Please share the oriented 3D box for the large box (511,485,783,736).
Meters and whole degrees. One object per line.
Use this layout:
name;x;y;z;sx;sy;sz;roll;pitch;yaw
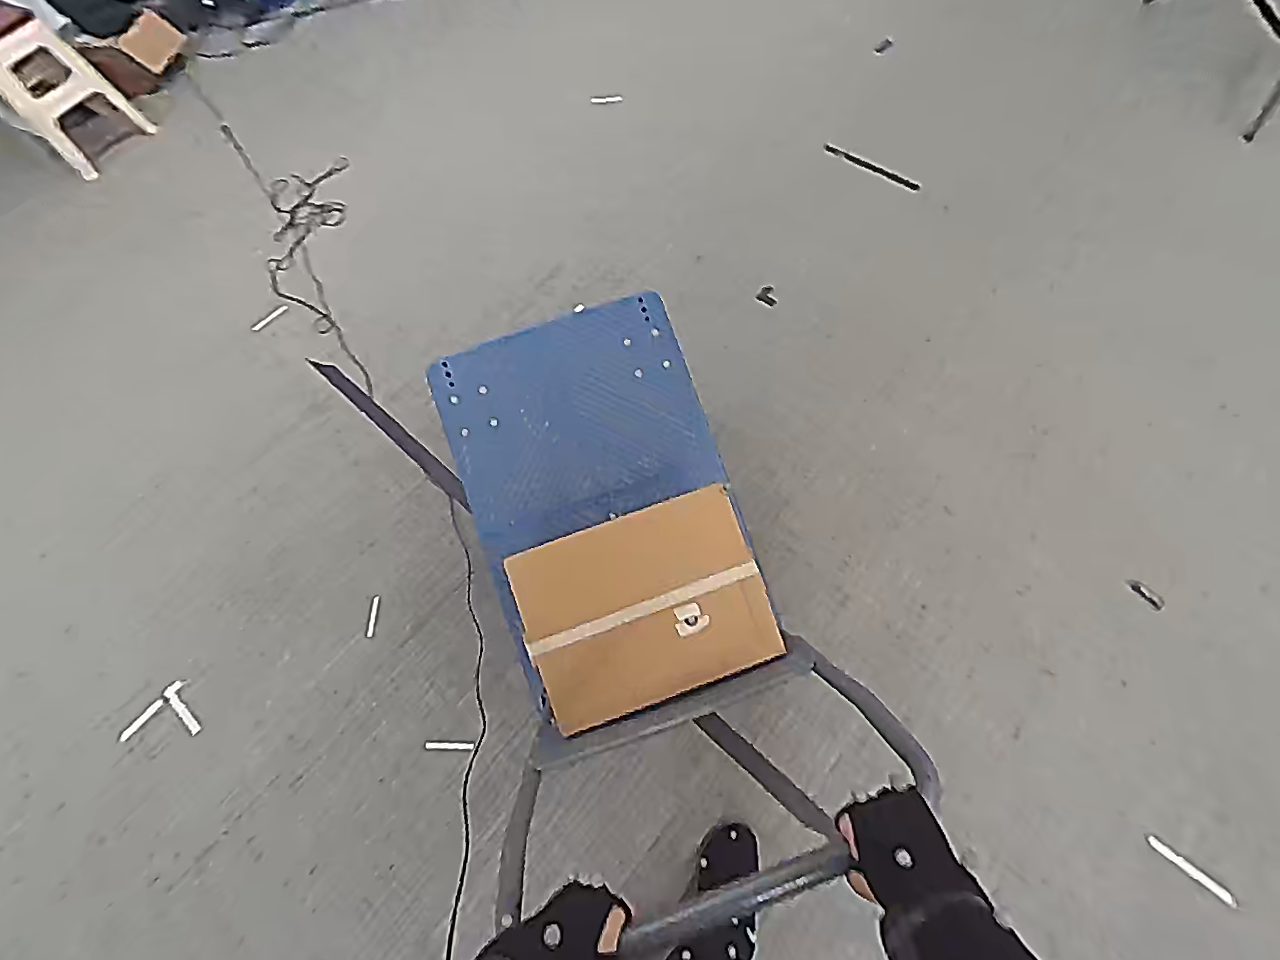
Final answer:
large box;0.005;0.238;1.083;0.408;0.320;0.320;-20;86;-5
